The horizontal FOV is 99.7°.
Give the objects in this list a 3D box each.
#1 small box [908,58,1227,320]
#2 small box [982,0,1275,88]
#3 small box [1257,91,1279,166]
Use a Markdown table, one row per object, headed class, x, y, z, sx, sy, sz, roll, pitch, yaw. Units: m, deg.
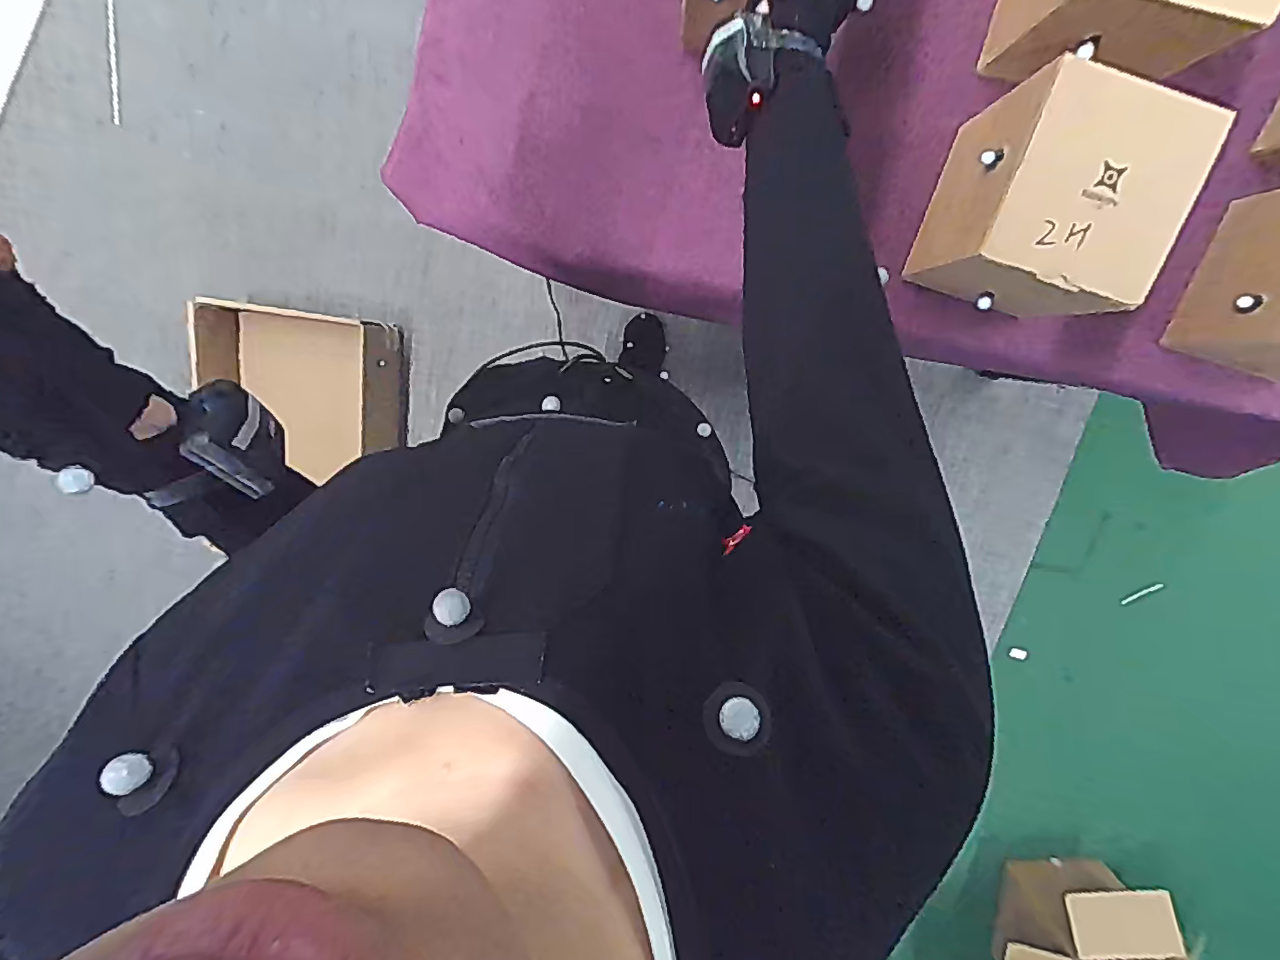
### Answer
| class | x | y | z | sx | sy | sz | roll | pitch | yaw |
| --- | --- | --- | --- | --- | --- | --- | --- | --- | --- |
| small box | 0.418 | -0.281 | 0.568 | 0.168 | 0.176 | 0.179 | 17 | 103 | -3 |
| small box | 0.470 | -0.497 | 0.517 | 0.168 | 0.176 | 0.179 | 11 | 103 | -2 |
| small box | 0.797 | -0.403 | 0.532 | 0.168 | 0.176 | 0.179 | 19 | 104 | -4 |
